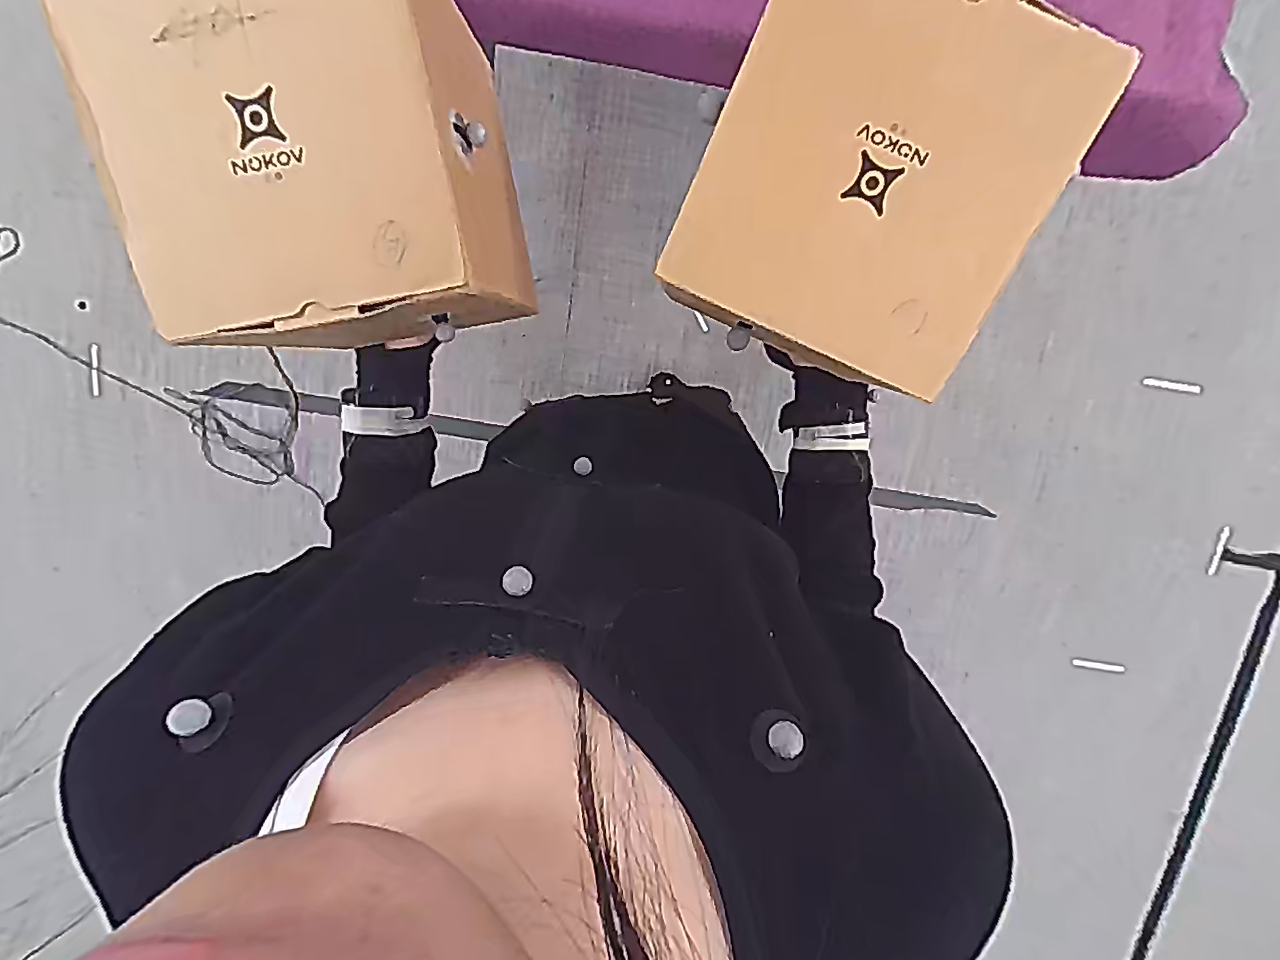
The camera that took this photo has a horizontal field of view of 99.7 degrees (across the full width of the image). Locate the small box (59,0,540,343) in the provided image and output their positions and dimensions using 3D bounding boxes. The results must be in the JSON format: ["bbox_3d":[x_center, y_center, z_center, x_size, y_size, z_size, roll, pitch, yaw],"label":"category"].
[{"bbox_3d":[-0.169,-0.184,0.332,0.168,0.176,0.179,-9,102,2],"label":"small box"}]

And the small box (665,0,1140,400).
[{"bbox_3d":[0.129,-0.168,0.343,0.168,0.176,0.179,24,104,-1],"label":"small box"}]
